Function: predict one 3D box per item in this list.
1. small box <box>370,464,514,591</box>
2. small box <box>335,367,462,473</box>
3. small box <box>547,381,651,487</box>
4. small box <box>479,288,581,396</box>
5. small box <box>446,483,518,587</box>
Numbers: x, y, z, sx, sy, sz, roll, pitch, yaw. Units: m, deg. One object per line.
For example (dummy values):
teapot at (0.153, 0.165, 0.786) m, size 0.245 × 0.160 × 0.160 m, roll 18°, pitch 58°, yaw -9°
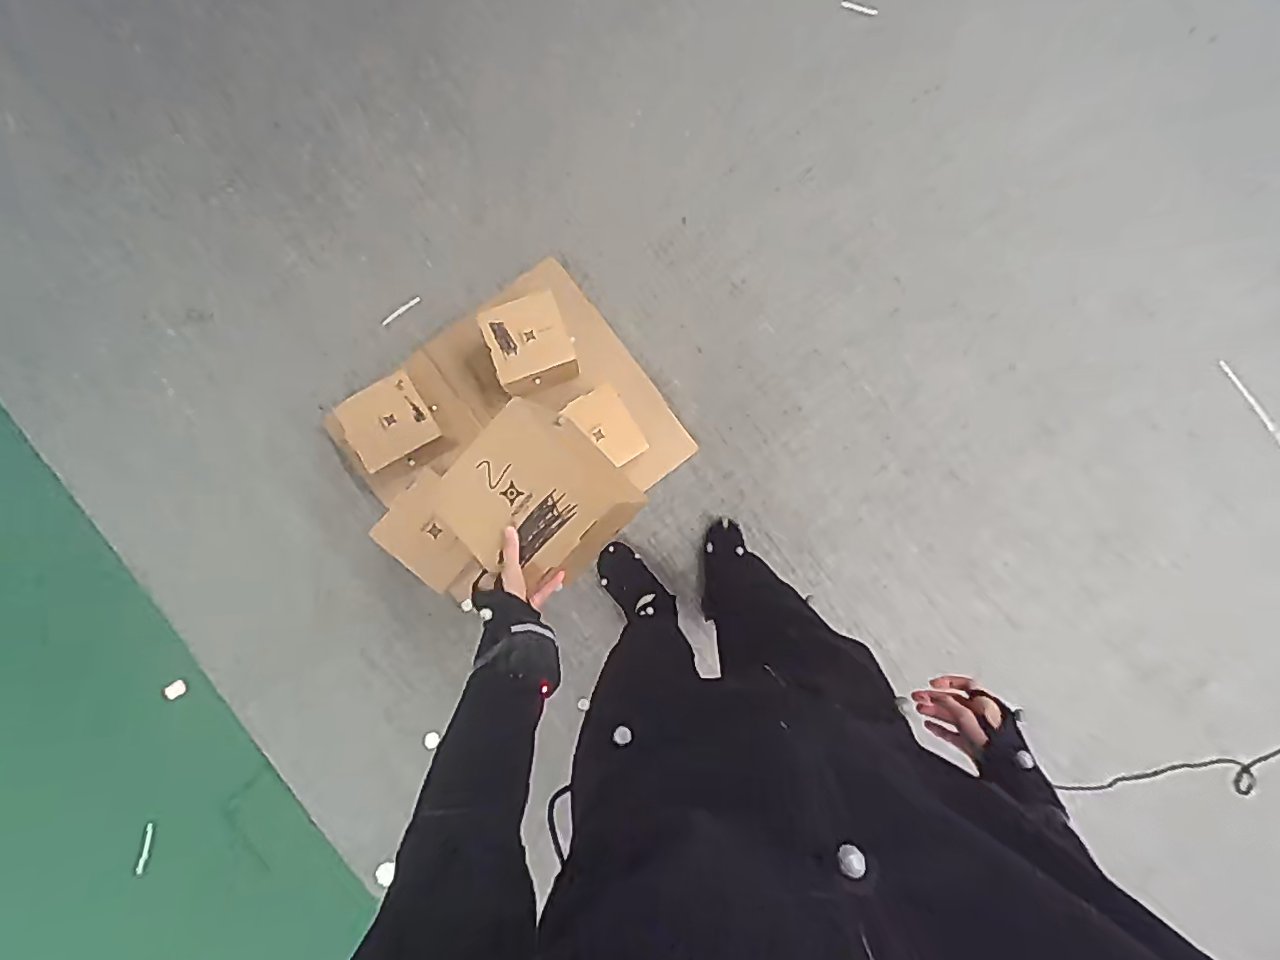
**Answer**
small box at (-0.375, 0.089, 1.057) m, size 0.179 × 0.176 × 0.168 m, roll 41°, pitch 87°, yaw -1°
small box at (-0.532, -0.125, 1.218) m, size 0.179 × 0.176 × 0.168 m, roll -30°, pitch 90°, yaw -3°
small box at (-0.092, -0.099, 1.240) m, size 0.168 × 0.176 × 0.179 m, roll -32°, pitch 90°, yaw -4°
small box at (-0.243, -0.306, 1.236) m, size 0.179 × 0.176 × 0.168 m, roll -21°, pitch 89°, yaw -5°
small box at (-0.394, 0.115, 1.219) m, size 0.168 × 0.176 × 0.179 m, roll -31°, pitch 90°, yaw -4°
